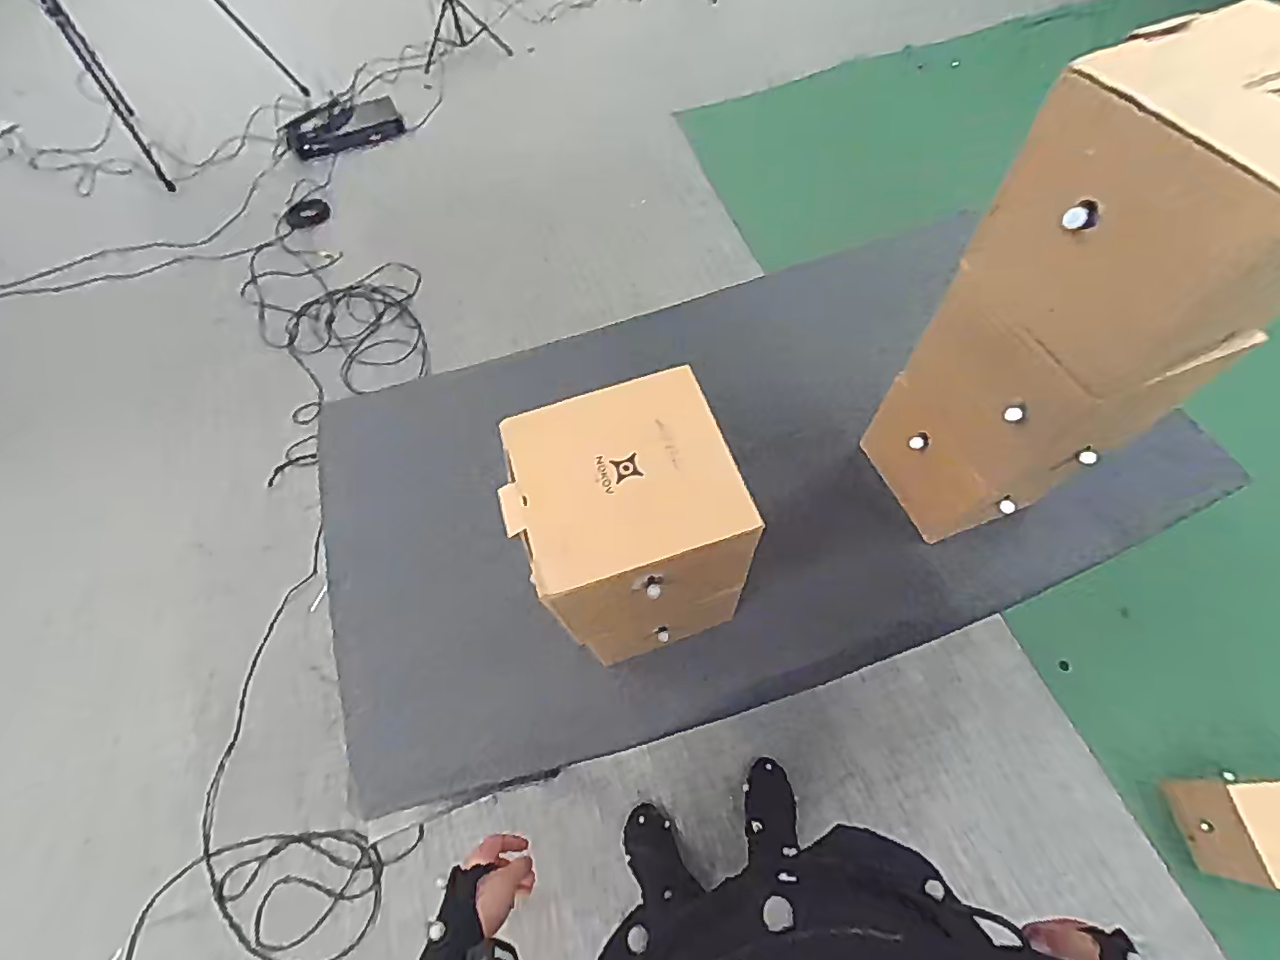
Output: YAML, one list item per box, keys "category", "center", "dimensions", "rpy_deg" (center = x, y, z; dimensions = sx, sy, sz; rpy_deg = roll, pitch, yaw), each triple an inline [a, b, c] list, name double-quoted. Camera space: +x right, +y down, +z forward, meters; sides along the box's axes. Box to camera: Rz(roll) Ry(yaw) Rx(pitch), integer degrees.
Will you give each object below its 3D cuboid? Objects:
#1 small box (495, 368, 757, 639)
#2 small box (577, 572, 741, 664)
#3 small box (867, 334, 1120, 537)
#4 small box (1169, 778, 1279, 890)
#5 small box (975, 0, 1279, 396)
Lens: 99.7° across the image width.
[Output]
- category: "small box"
  center: [-0.012, 0.032, 0.496]
  dimensions: [0.179, 0.176, 0.168]
  rpy_deg: [-17, 64, -5]
- category: "small box"
  center: [0.002, 0.102, 0.642]
  dimensions: [0.179, 0.176, 0.168]
  rpy_deg: [-19, 63, -4]
- category: "small box"
  center: [0.421, -0.045, 0.683]
  dimensions: [0.168, 0.176, 0.179]
  rpy_deg: [-19, 62, -5]
- category: "small box"
  center: [1.217, 0.691, 1.070]
  dimensions: [0.179, 0.176, 0.168]
  rpy_deg: [-5, 64, 2]
- category: "small box"
  center: [0.394, -0.194, 0.391]
  dimensions: [0.168, 0.176, 0.179]
  rpy_deg: [-23, 62, -6]
